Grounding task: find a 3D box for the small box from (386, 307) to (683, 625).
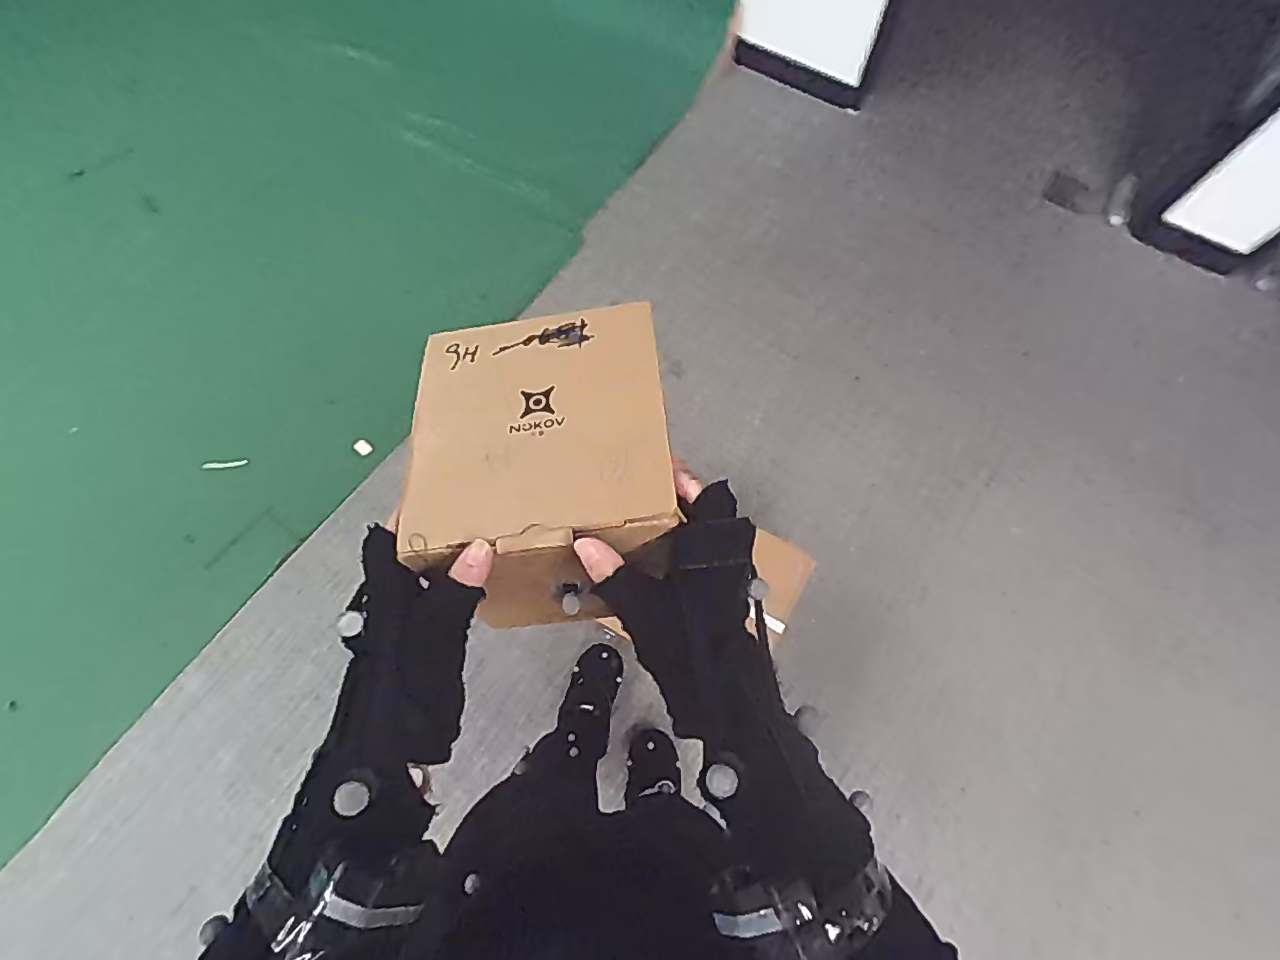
[{"bbox_3d":[-0.062,0.004,0.410,0.168,0.176,0.179,-8,61,4],"label":"small box"}]
